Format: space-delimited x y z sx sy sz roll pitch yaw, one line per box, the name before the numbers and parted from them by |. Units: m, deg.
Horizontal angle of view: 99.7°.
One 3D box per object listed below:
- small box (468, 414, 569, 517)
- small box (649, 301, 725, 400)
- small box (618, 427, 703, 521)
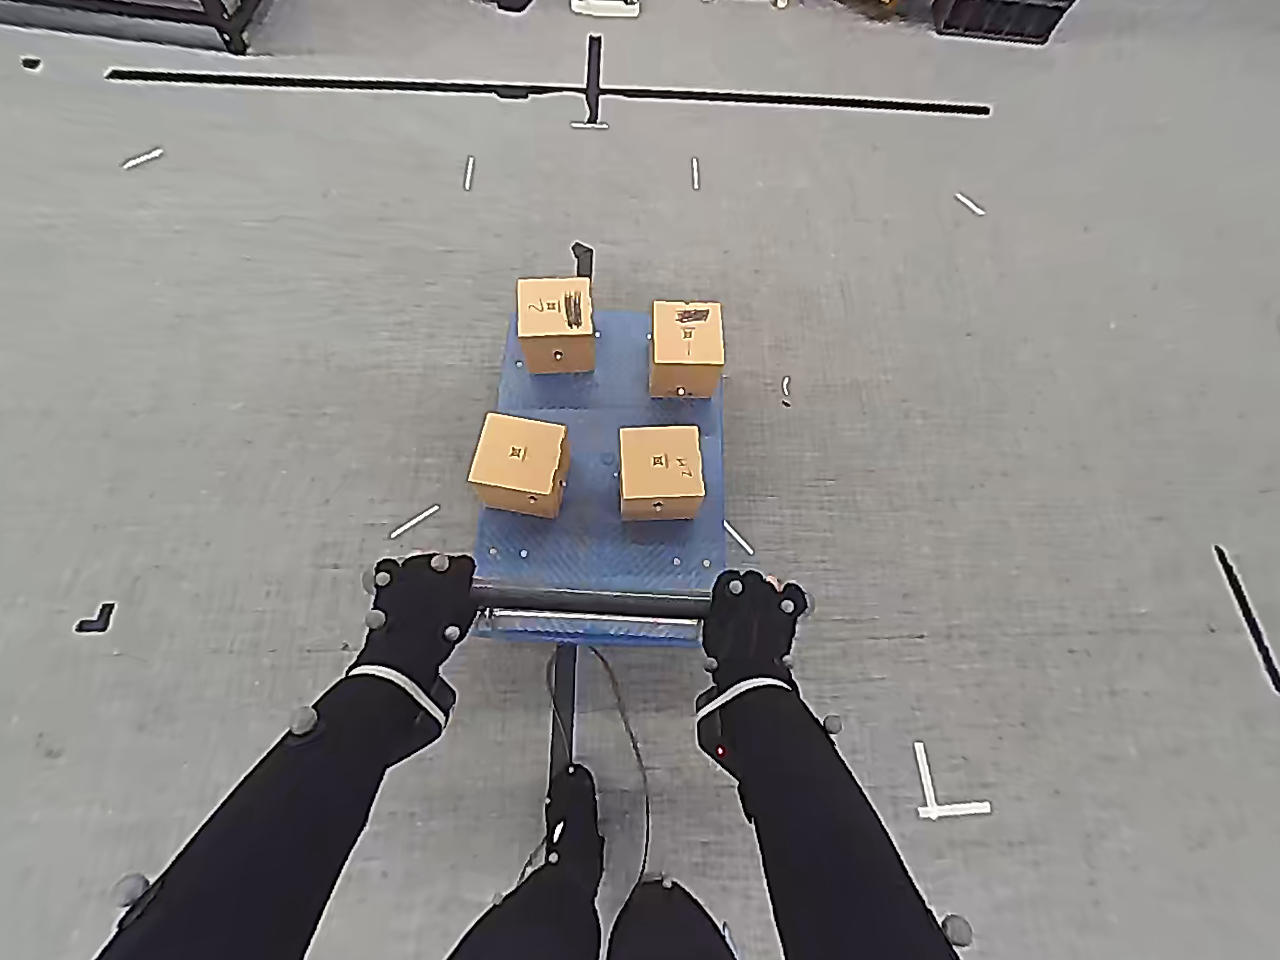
small box | -0.264 -0.027 1.214 0.179 0.176 0.168 10 69 -1
small box | 0.110 -0.318 1.345 0.168 0.176 0.179 1 70 -3
small box | 0.040 -0.009 1.225 0.179 0.176 0.168 -2 70 -4
